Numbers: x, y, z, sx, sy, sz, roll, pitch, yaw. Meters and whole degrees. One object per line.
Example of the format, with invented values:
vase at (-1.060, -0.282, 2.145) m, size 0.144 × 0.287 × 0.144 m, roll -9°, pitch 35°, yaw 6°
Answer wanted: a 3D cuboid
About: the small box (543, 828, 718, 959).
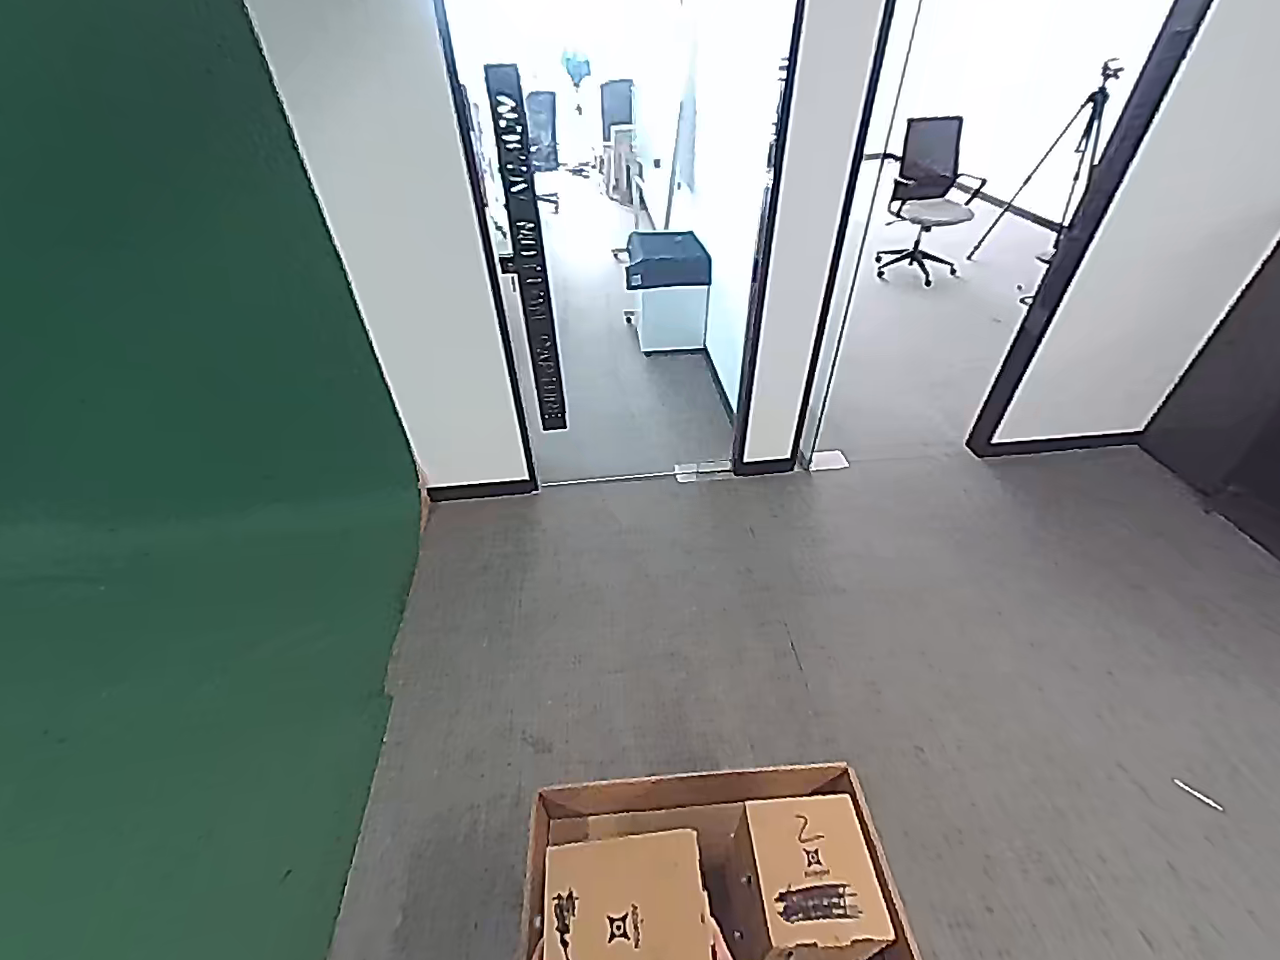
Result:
small box at (-0.012, 0.520, 0.614) m, size 0.179 × 0.176 × 0.168 m, roll -4°, pitch 41°, yaw -3°
